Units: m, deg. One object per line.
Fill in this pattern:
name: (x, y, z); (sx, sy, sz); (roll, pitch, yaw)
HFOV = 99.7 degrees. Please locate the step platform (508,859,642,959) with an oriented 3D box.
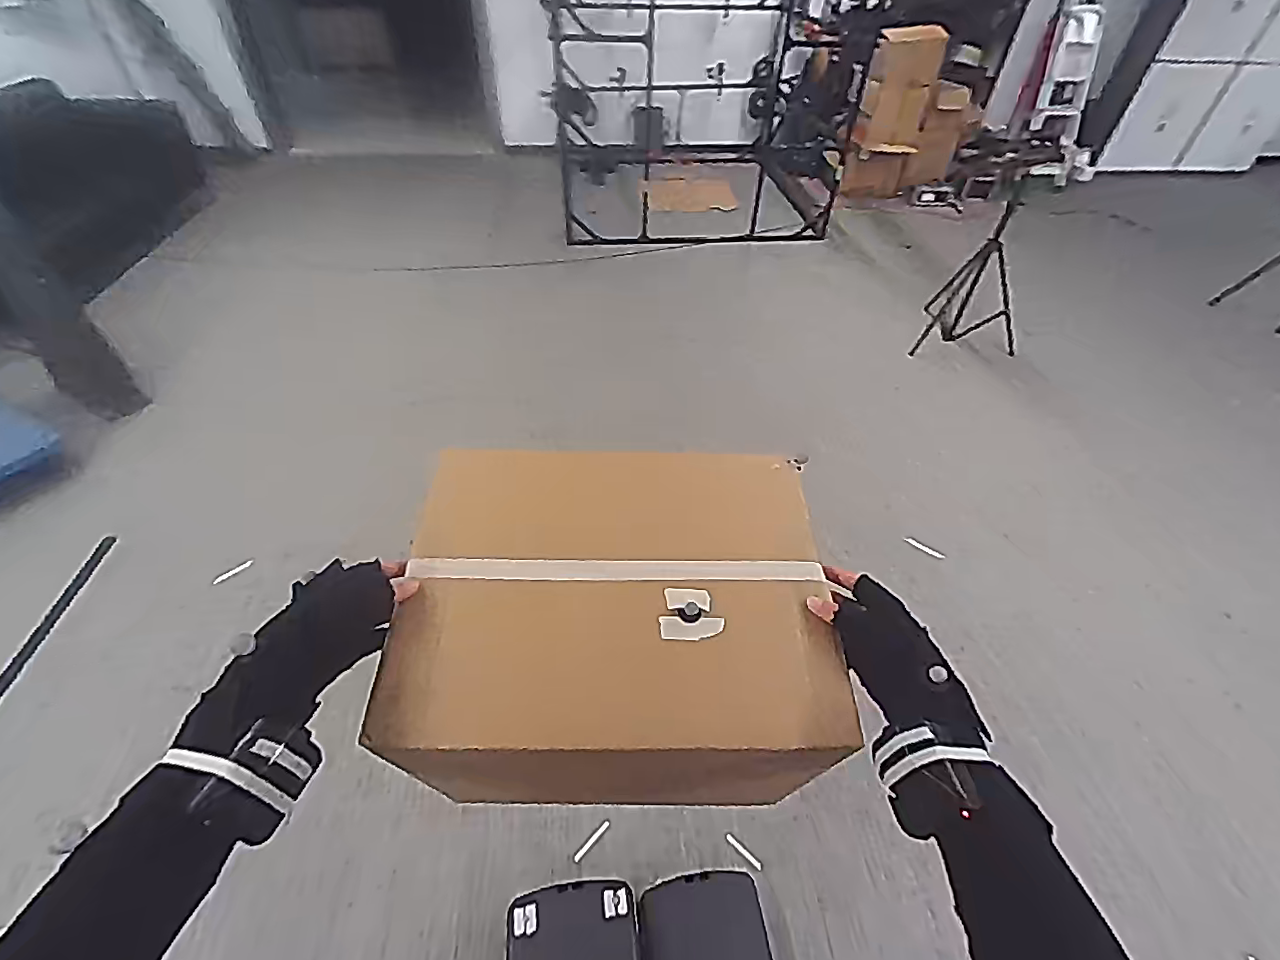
step platform: (-0.115, 1.168, 1.069); (0.286, 0.204, 0.684); (-5, 45, -7)

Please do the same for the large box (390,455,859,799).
large box: (-0.019, 0.186, 0.657); (0.408, 0.320, 0.320); (2, 53, -2)
